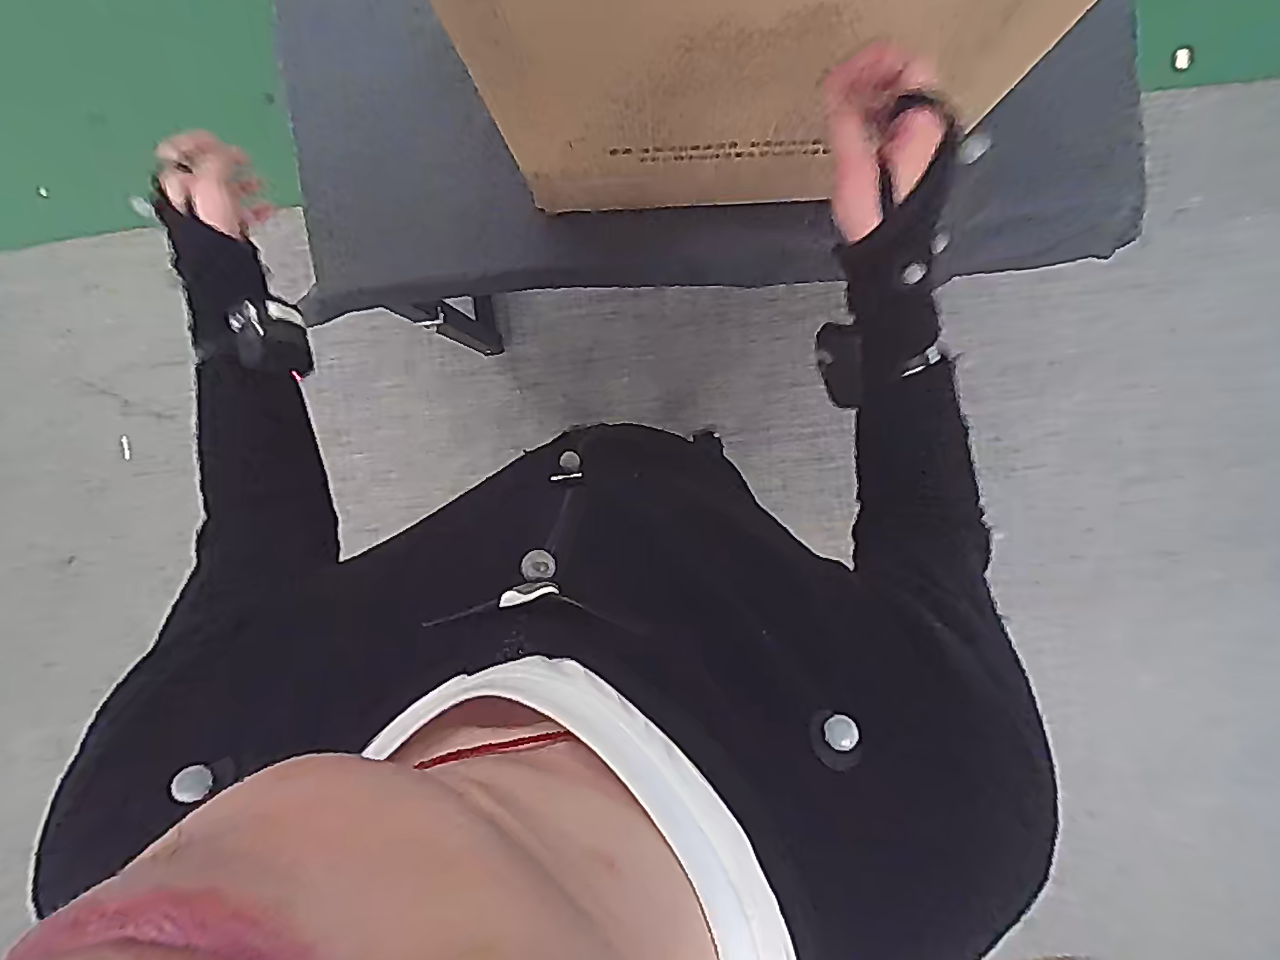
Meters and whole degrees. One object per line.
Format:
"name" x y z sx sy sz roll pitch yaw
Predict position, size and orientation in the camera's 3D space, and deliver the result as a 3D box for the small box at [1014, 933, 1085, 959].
"small box" 1.225 1.479 1.576 0.168 0.176 0.179 -5 95 2
